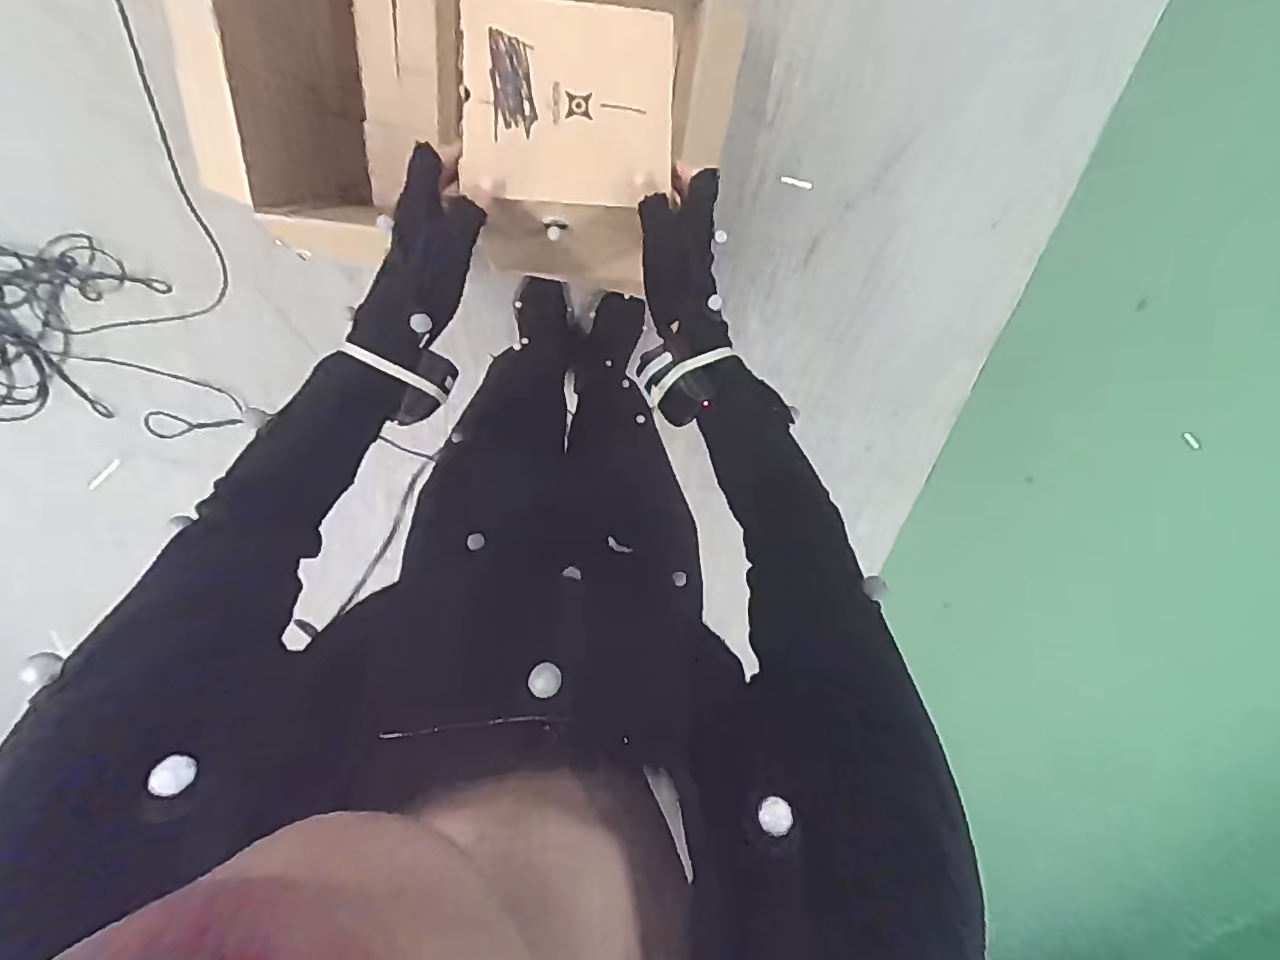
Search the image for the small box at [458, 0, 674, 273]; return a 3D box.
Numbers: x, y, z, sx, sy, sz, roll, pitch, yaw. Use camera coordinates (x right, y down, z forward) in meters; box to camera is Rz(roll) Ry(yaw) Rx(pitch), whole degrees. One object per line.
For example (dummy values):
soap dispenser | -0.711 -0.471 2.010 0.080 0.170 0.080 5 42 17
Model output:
small box | -0.067 -0.312 0.521 0.179 0.176 0.168 1 92 -7
